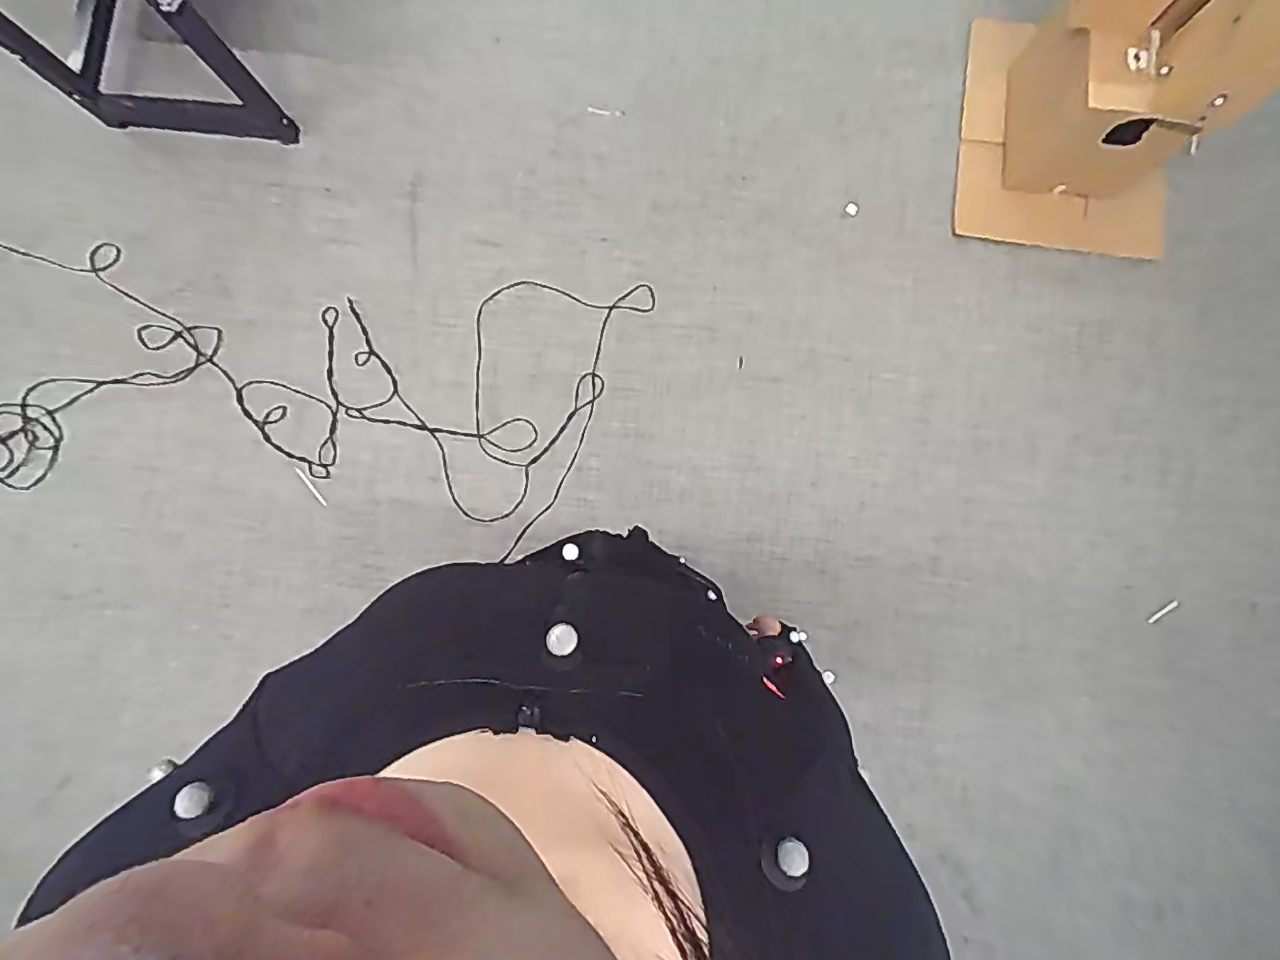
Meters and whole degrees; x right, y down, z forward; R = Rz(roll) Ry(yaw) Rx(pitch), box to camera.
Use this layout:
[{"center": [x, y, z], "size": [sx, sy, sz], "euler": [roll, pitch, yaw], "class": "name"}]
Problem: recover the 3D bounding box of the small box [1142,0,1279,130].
[{"center": [1.282, -0.929, 1.211], "size": [0.168, 0.176, 0.179], "euler": [10, 83, 0], "class": "small box"}]
